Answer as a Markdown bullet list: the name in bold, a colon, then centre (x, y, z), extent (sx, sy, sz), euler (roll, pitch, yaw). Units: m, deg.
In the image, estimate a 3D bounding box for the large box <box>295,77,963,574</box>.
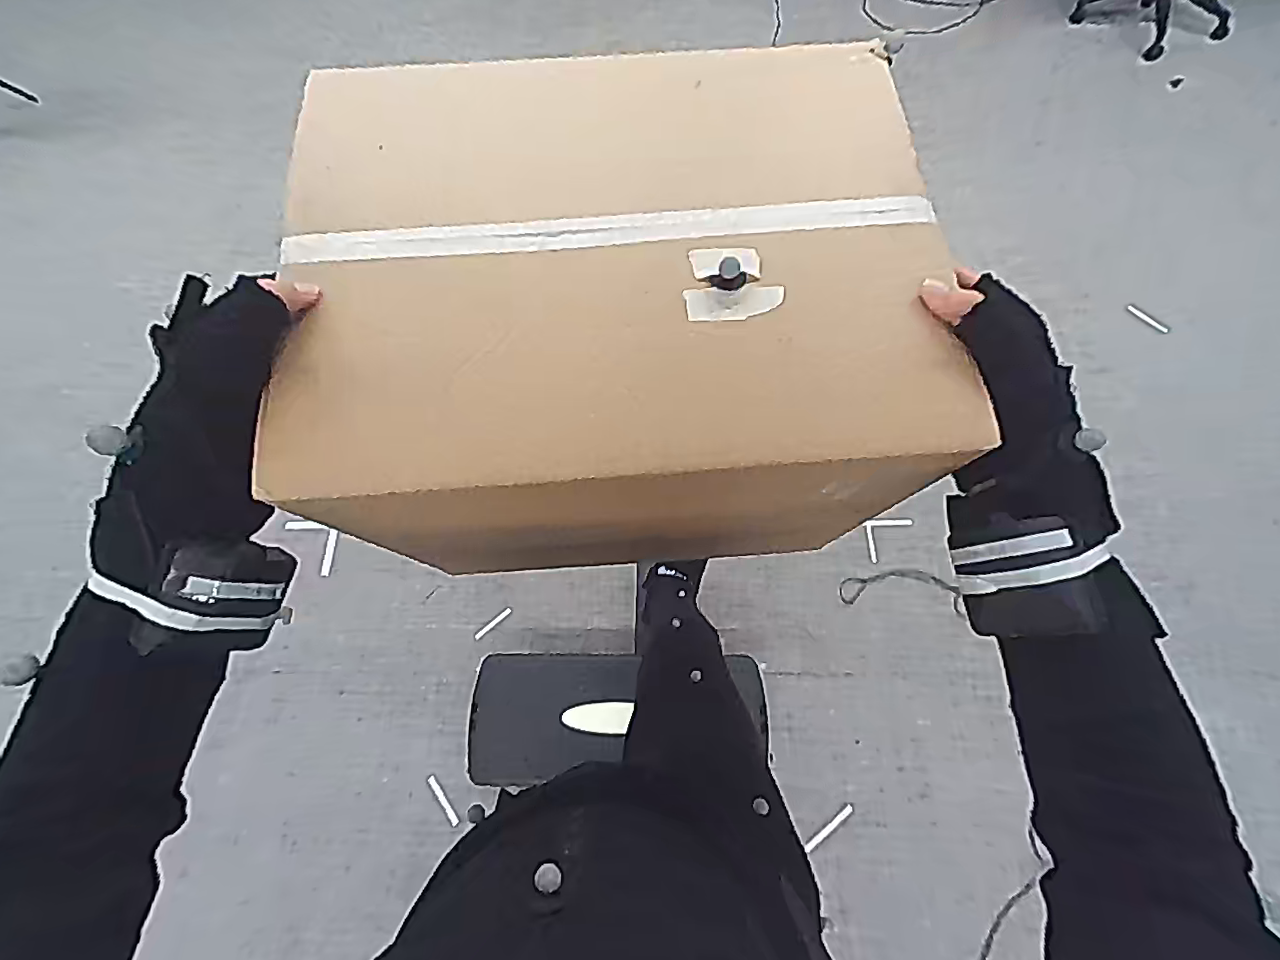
- **large box**: centre (-0.017, -0.104, 0.504), extent (0.408, 0.320, 0.320), euler (-4, 72, -2)
